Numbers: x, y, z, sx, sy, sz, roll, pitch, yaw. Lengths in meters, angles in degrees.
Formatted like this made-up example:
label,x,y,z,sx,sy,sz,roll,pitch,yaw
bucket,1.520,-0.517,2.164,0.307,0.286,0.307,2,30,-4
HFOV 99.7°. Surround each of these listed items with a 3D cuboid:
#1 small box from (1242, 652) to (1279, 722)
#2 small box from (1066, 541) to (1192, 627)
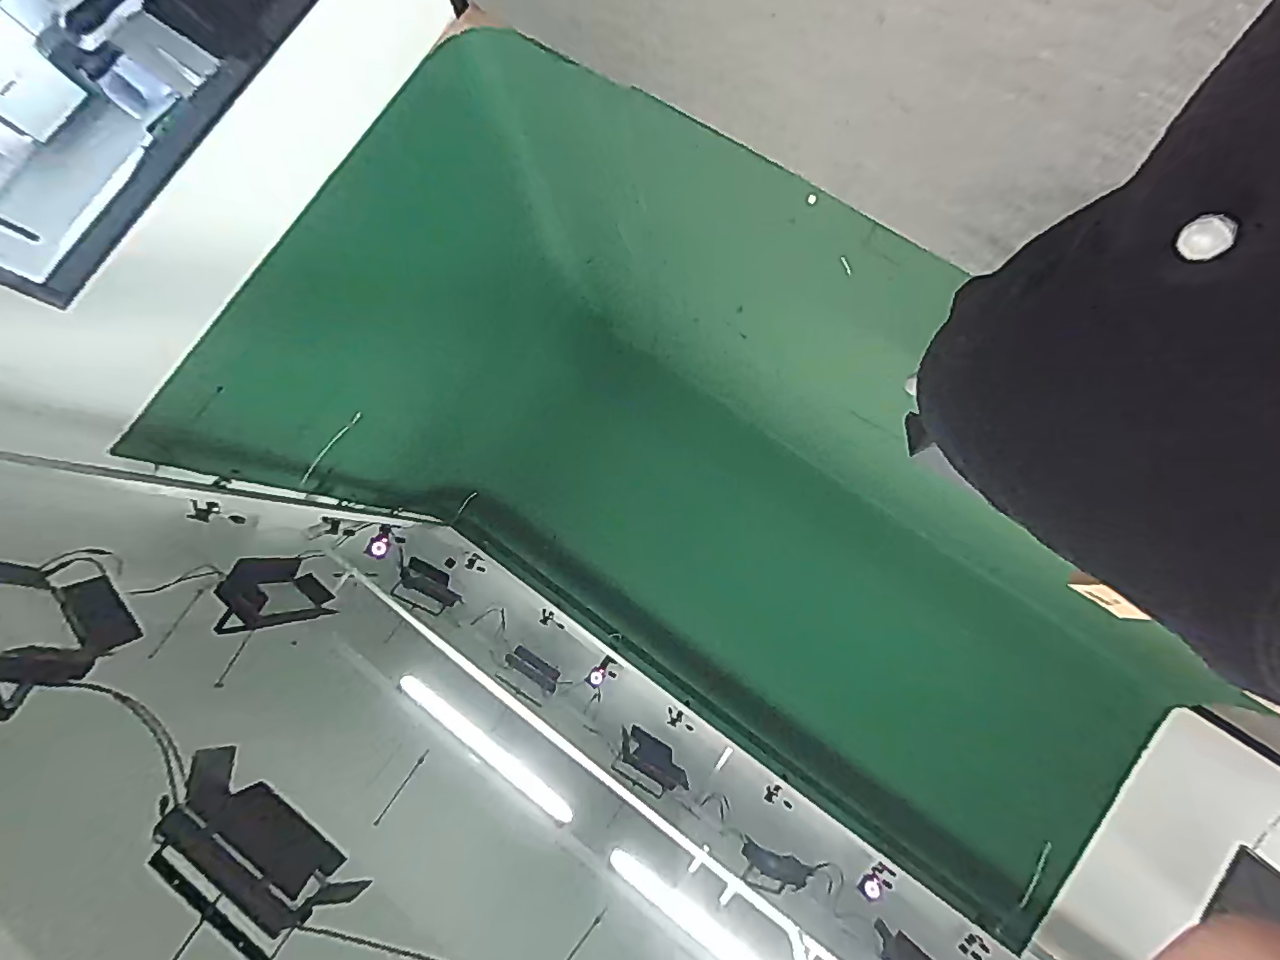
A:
label,x,y,z,sx,sy,sz,roll,pitch,yaw
small box,1.767,0.567,1.405,0.168,0.176,0.179,35,175,15
small box,1.368,0.287,1.515,0.168,0.176,0.179,35,175,13
